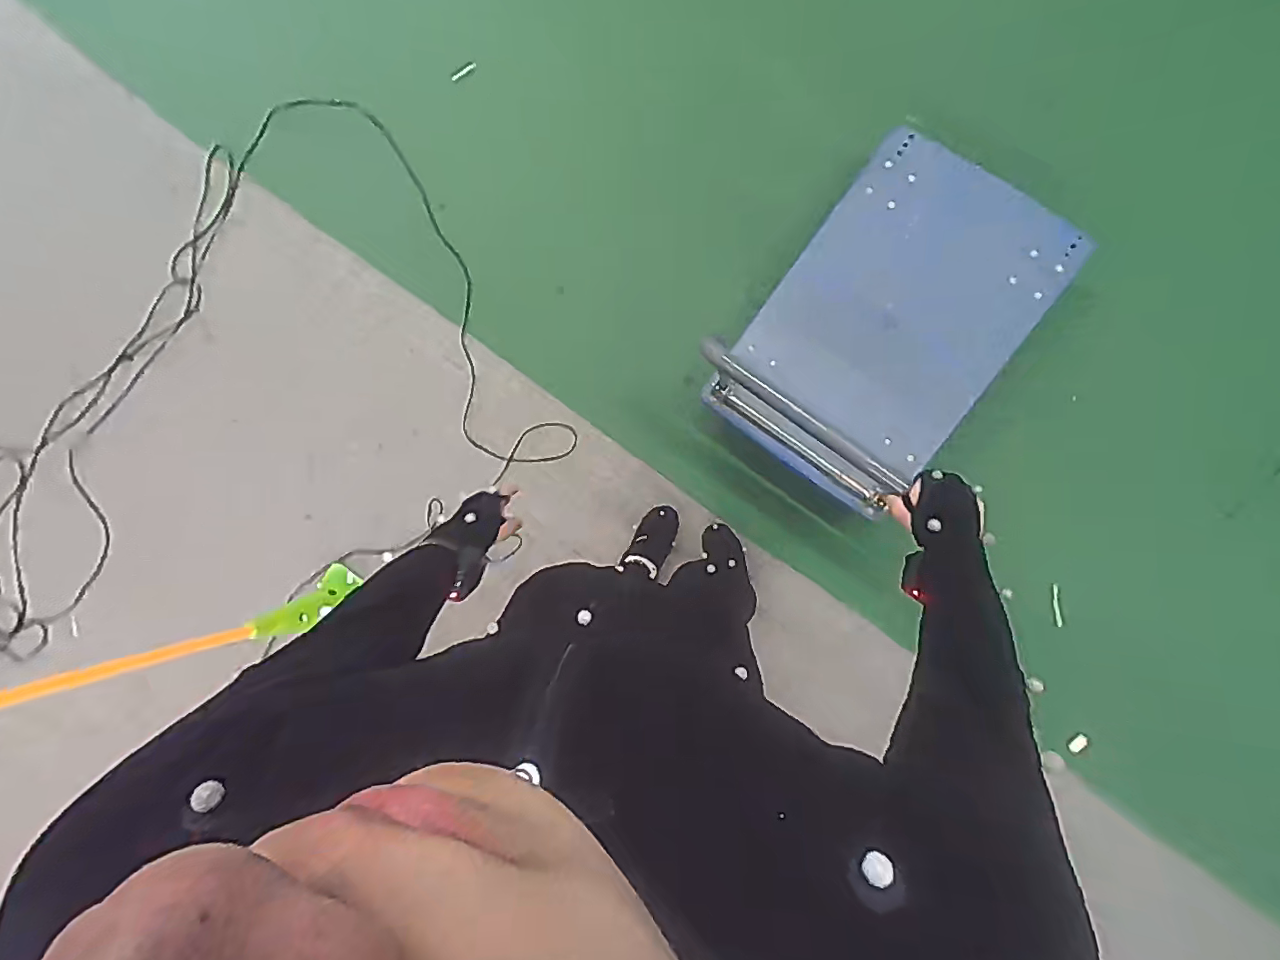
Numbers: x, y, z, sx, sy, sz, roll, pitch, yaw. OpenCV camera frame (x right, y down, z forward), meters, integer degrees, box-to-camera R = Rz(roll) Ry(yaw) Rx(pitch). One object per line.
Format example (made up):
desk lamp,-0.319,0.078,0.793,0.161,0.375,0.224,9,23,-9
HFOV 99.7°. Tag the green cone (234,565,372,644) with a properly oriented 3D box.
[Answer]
green cone,-1.014,0.399,1.590,0.202,0.368,0.200,33,93,9
